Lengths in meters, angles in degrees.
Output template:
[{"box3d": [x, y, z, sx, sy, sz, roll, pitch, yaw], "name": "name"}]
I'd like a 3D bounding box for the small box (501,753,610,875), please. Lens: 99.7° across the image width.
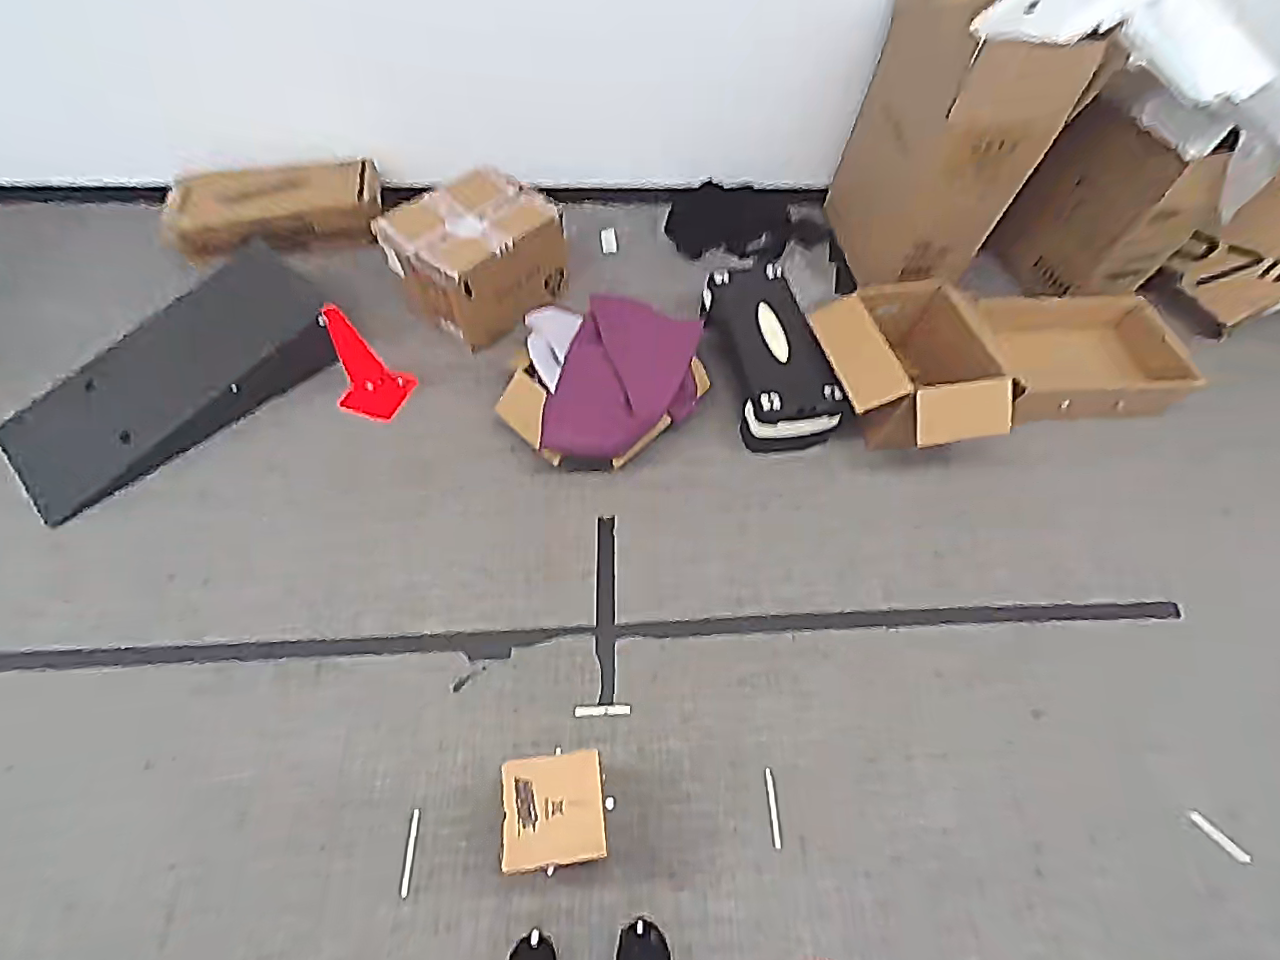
[{"box3d": [-0.152, 0.614, 0.999, 0.179, 0.176, 0.168, -6, 59, -5], "name": "small box"}]
